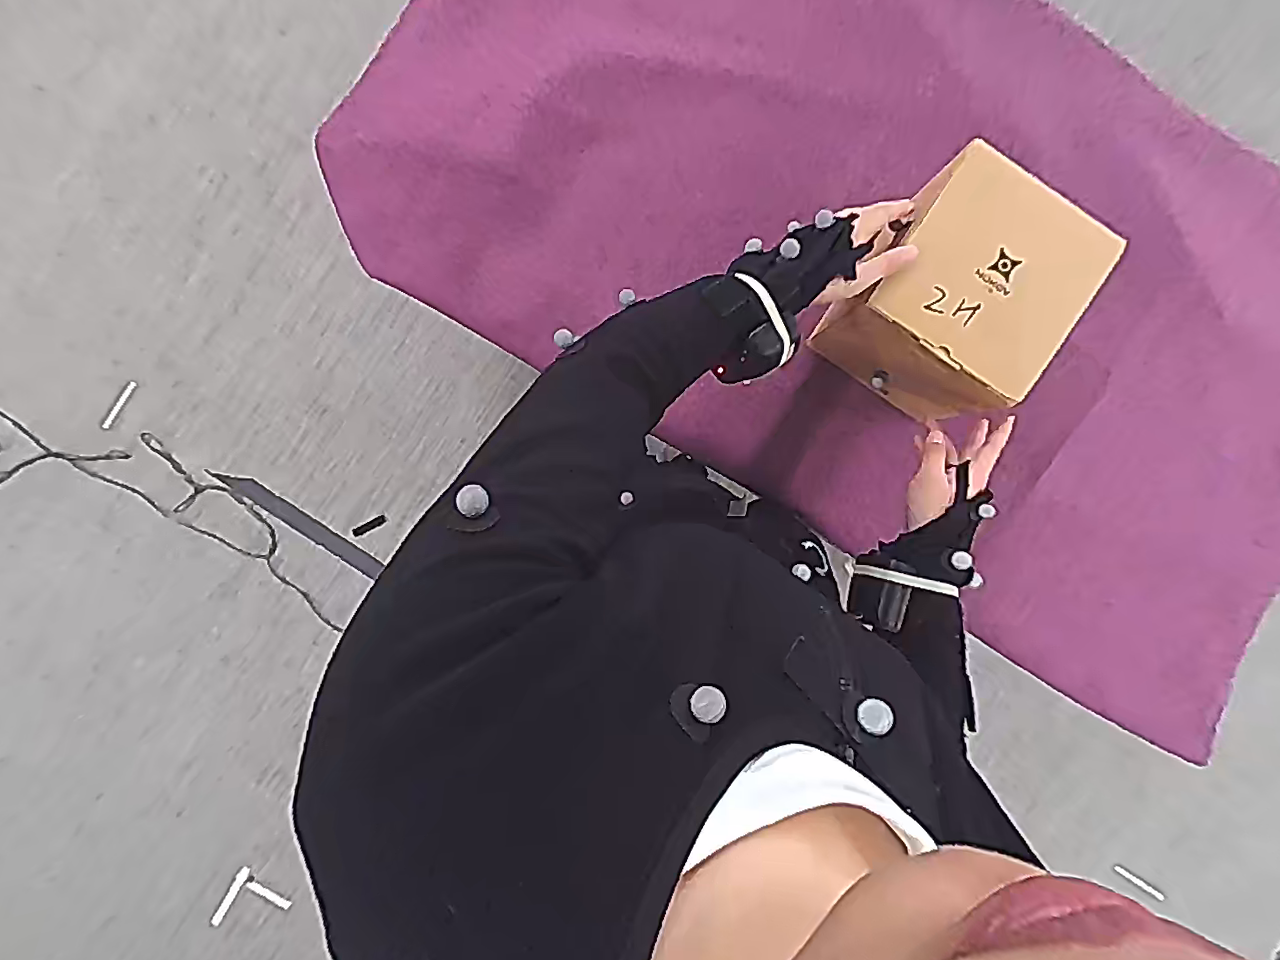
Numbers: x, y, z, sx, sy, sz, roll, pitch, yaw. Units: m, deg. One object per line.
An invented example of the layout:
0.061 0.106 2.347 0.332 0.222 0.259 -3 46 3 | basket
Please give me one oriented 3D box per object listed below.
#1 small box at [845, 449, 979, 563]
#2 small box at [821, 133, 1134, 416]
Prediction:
0.570 0.051 1.168 0.168 0.176 0.179 34 91 -1 | small box
0.312 -0.184 0.544 0.168 0.176 0.179 34 91 0 | small box
